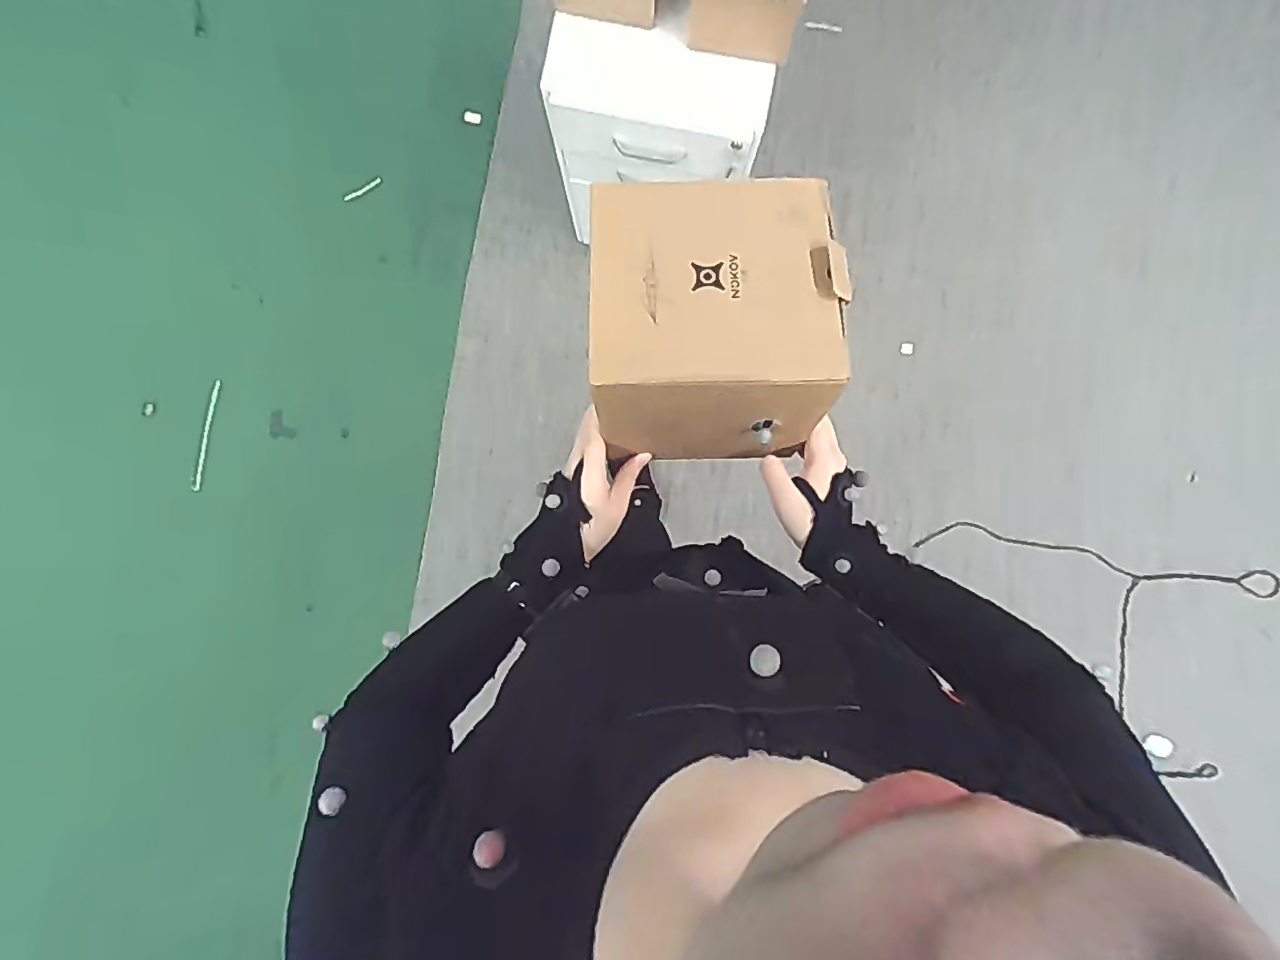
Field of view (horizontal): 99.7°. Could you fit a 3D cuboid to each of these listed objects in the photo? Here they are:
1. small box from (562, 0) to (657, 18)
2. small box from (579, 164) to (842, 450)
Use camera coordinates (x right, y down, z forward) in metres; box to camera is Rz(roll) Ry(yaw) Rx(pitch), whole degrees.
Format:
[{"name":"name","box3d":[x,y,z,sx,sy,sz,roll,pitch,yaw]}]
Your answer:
[{"name":"small box","box3d":[-0.047,-0.880,0.846,0.179,0.176,0.168,10,89,-1]},{"name":"small box","box3d":[0.048,-0.128,0.453,0.179,0.176,0.168,-2,74,2]}]
